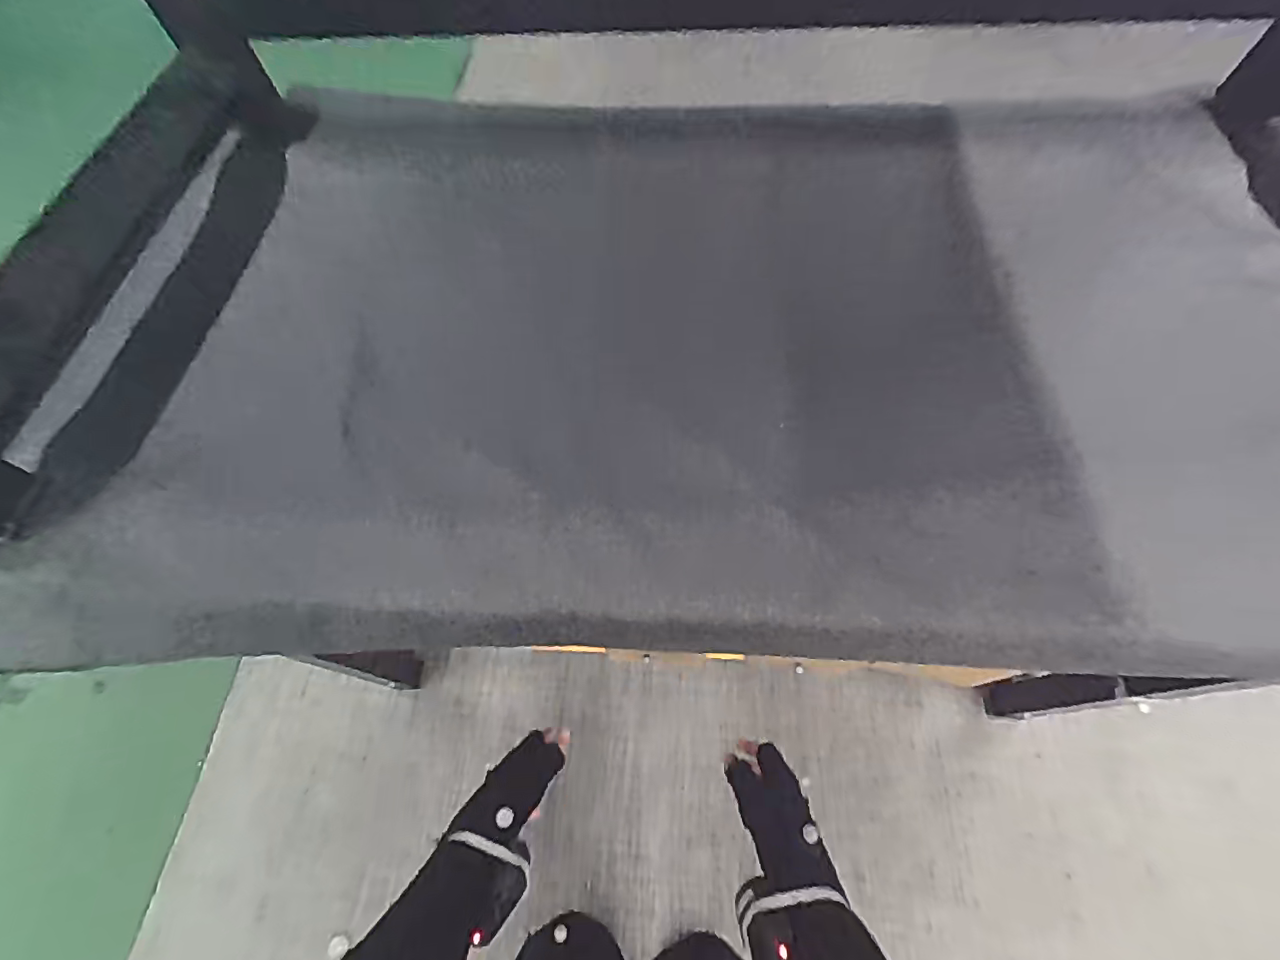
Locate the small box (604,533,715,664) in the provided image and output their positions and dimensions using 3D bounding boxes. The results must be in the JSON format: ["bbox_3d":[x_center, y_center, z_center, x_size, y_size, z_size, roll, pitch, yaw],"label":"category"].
[{"bbox_3d":[0.035,0.204,0.915,0.168,0.176,0.179,3,64,4],"label":"small box"}]
